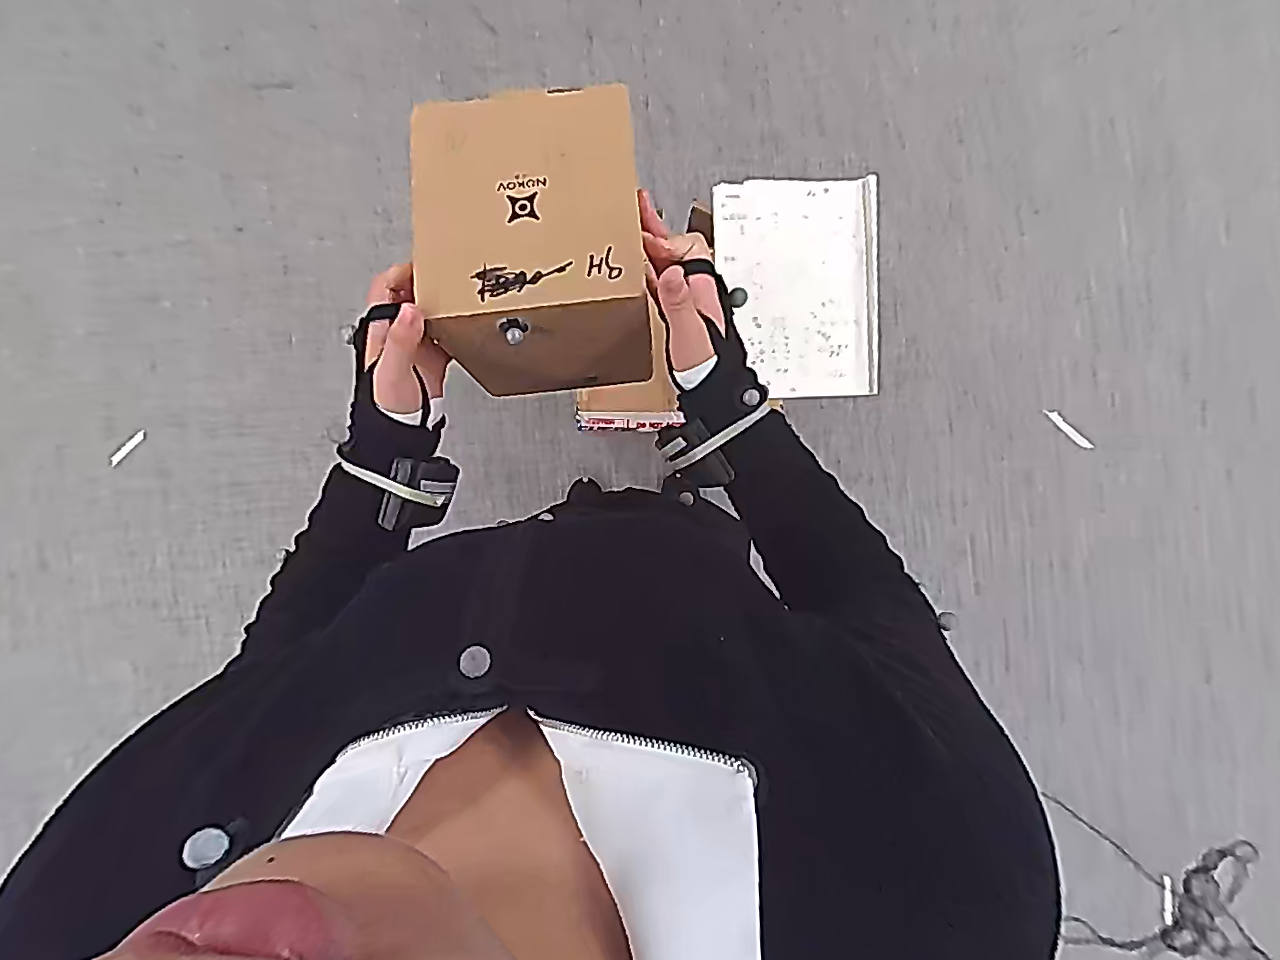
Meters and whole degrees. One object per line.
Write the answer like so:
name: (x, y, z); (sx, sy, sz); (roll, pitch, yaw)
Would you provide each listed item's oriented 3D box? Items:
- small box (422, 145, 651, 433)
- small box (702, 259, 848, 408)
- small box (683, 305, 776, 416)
small box: (-0.078, -0.153, 0.481); (0.168, 0.176, 0.179); (-5, 80, 2)
small box: (0.182, -0.199, 0.774); (0.168, 0.176, 0.179); (-2, 93, -2)
small box: (0.175, -0.204, 0.938); (0.179, 0.176, 0.168); (-5, 92, -1)
